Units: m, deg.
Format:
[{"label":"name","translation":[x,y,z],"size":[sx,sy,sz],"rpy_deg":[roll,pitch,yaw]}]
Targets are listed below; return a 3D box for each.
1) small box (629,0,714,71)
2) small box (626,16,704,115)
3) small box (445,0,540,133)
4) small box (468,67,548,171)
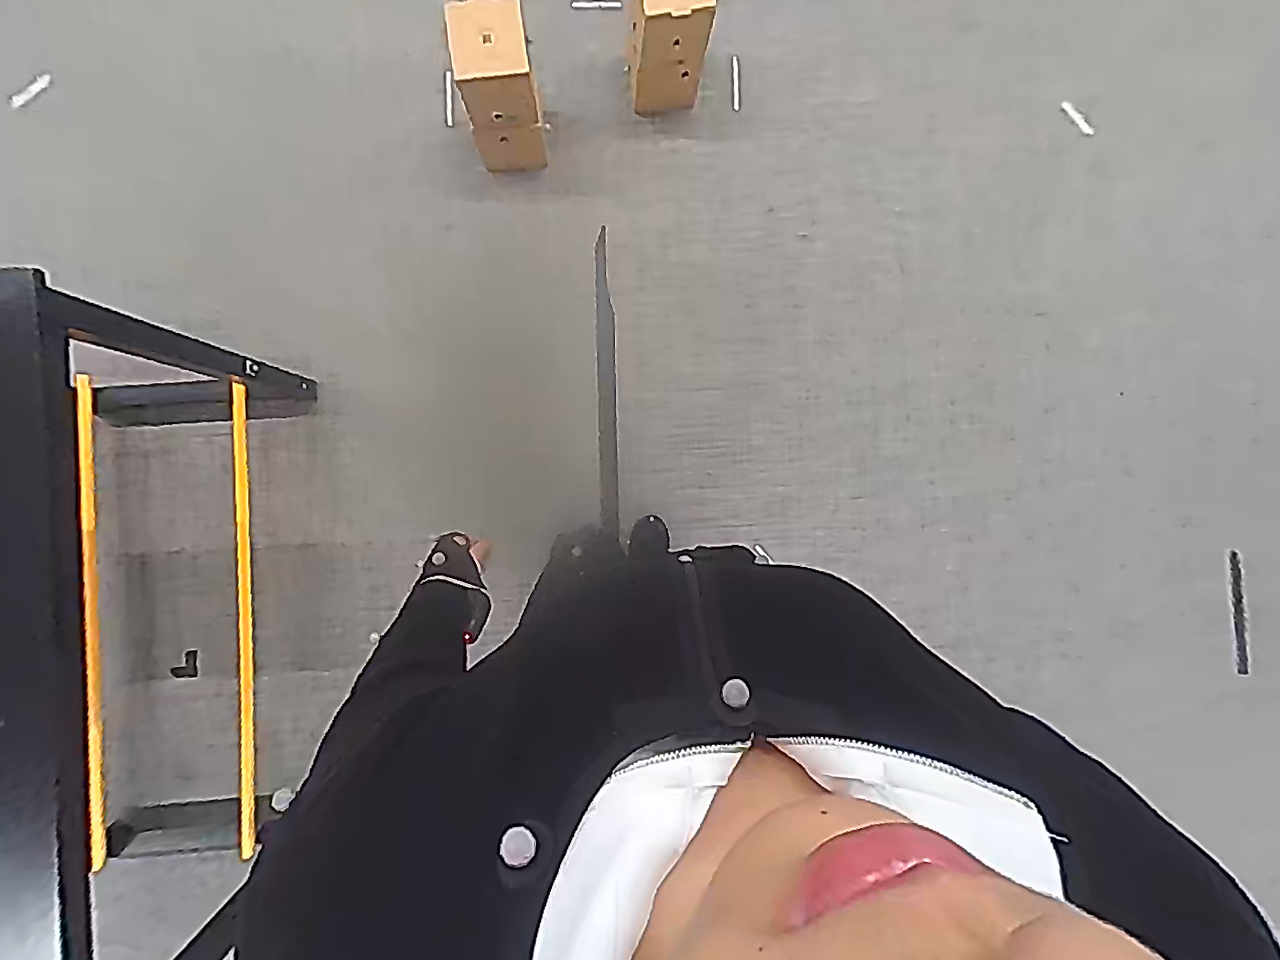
[{"label":"small box","translation":[0.069,-1.110,1.280],"size":[0.168,0.176,0.179],"rpy_deg":[-10,90,-4]},{"label":"small box","translation":[0.061,-1.116,1.443],"size":[0.179,0.176,0.168],"rpy_deg":[-8,89,-3]},{"label":"small box","translation":[-0.334,-0.950,1.252],"size":[0.168,0.176,0.179],"rpy_deg":[-9,91,-2]},{"label":"small box","translation":[-0.343,-0.936,1.415],"size":[0.179,0.176,0.168],"rpy_deg":[-5,89,-4]}]
